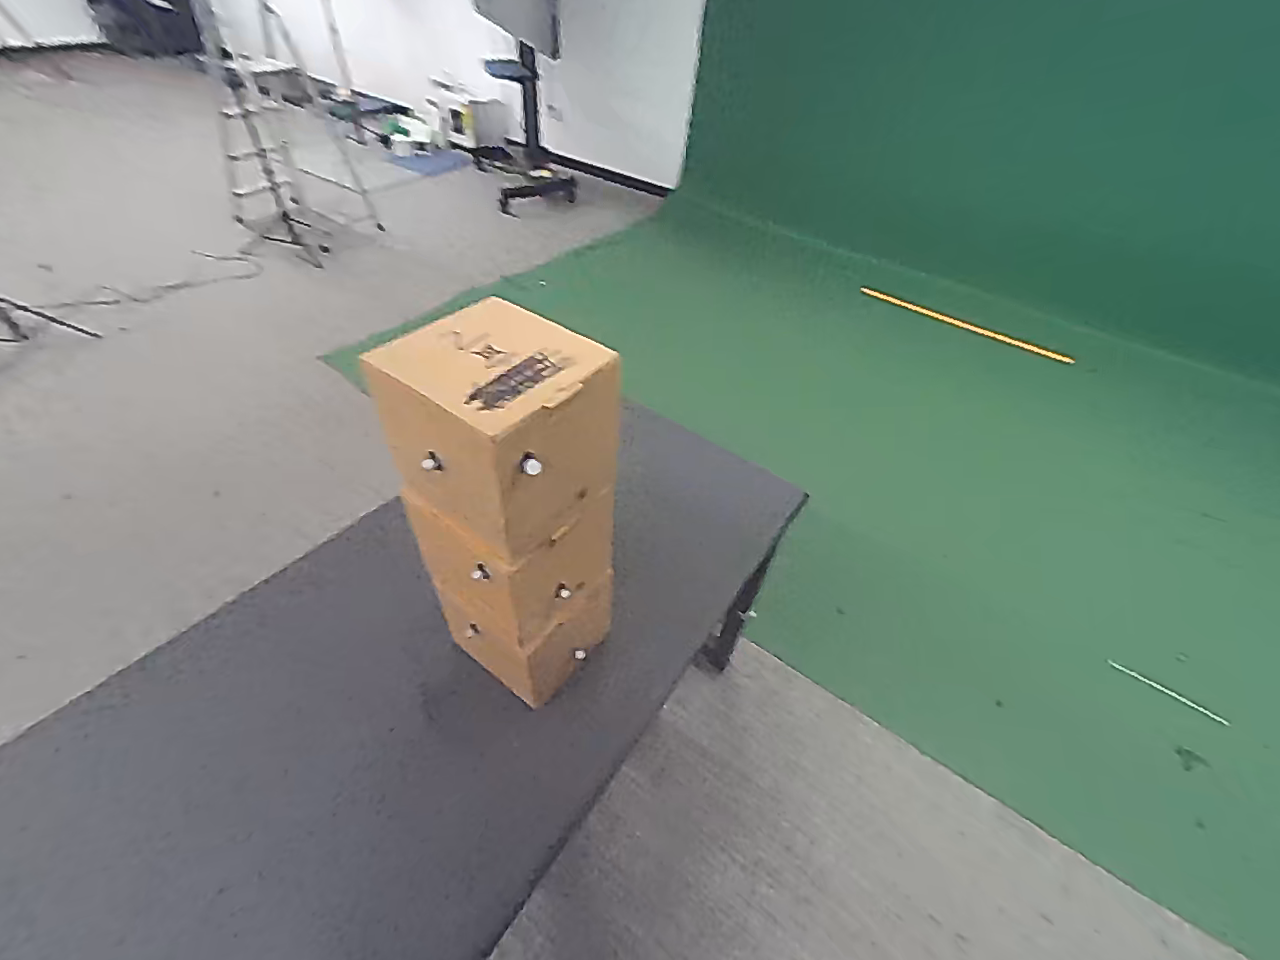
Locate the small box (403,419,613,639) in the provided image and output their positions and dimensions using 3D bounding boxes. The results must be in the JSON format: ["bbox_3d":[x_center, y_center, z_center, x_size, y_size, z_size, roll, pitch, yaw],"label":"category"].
[{"bbox_3d":[-0.154,0.060,0.664,0.179,0.176,0.168,31,50,22],"label":"small box"}]

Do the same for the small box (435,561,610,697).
[{"bbox_3d":[-0.162,0.176,0.777,0.179,0.176,0.168,31,51,22],"label":"small box"}]
